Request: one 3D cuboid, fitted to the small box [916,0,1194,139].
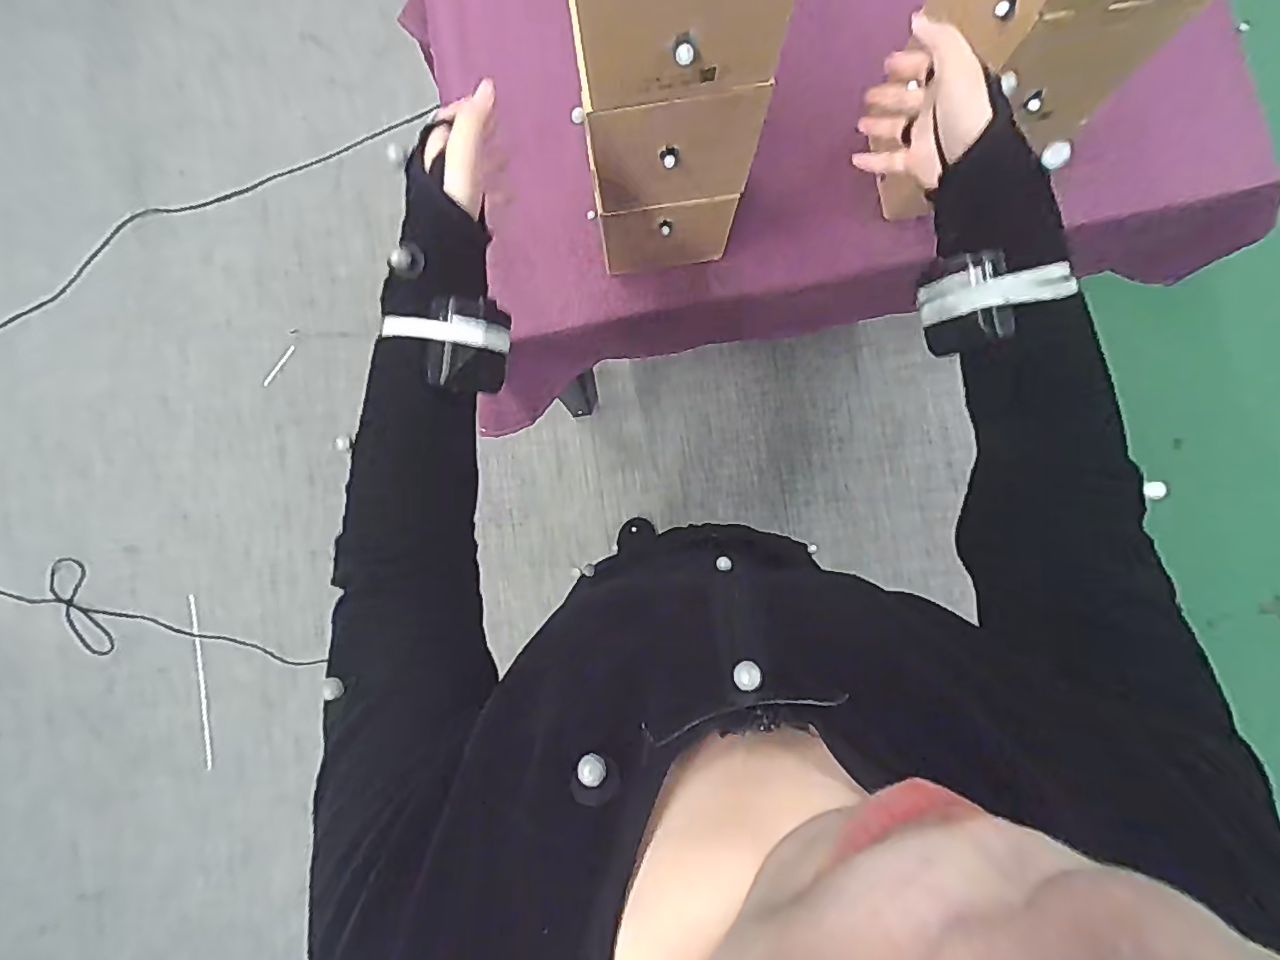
[{"bbox_3d":[0.424,-0.513,0.580,0.168,0.176,0.179,-9,87,1],"label":"small box"}]

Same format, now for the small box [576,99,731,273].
[{"bbox_3d":[0.018,-0.405,0.744,0.179,0.176,0.168,-8,86,0],"label":"small box"}]

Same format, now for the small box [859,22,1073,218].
[{"bbox_3d":[0.430,-0.491,0.742,0.179,0.176,0.168,-9,85,0],"label":"small box"}]

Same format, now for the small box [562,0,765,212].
[{"bbox_3d":[0.020,-0.419,0.581,0.179,0.176,0.168,-9,86,2],"label":"small box"}]

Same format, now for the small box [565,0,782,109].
[{"bbox_3d":[0.016,-0.437,0.416,0.168,0.176,0.179,-9,86,1],"label":"small box"}]
